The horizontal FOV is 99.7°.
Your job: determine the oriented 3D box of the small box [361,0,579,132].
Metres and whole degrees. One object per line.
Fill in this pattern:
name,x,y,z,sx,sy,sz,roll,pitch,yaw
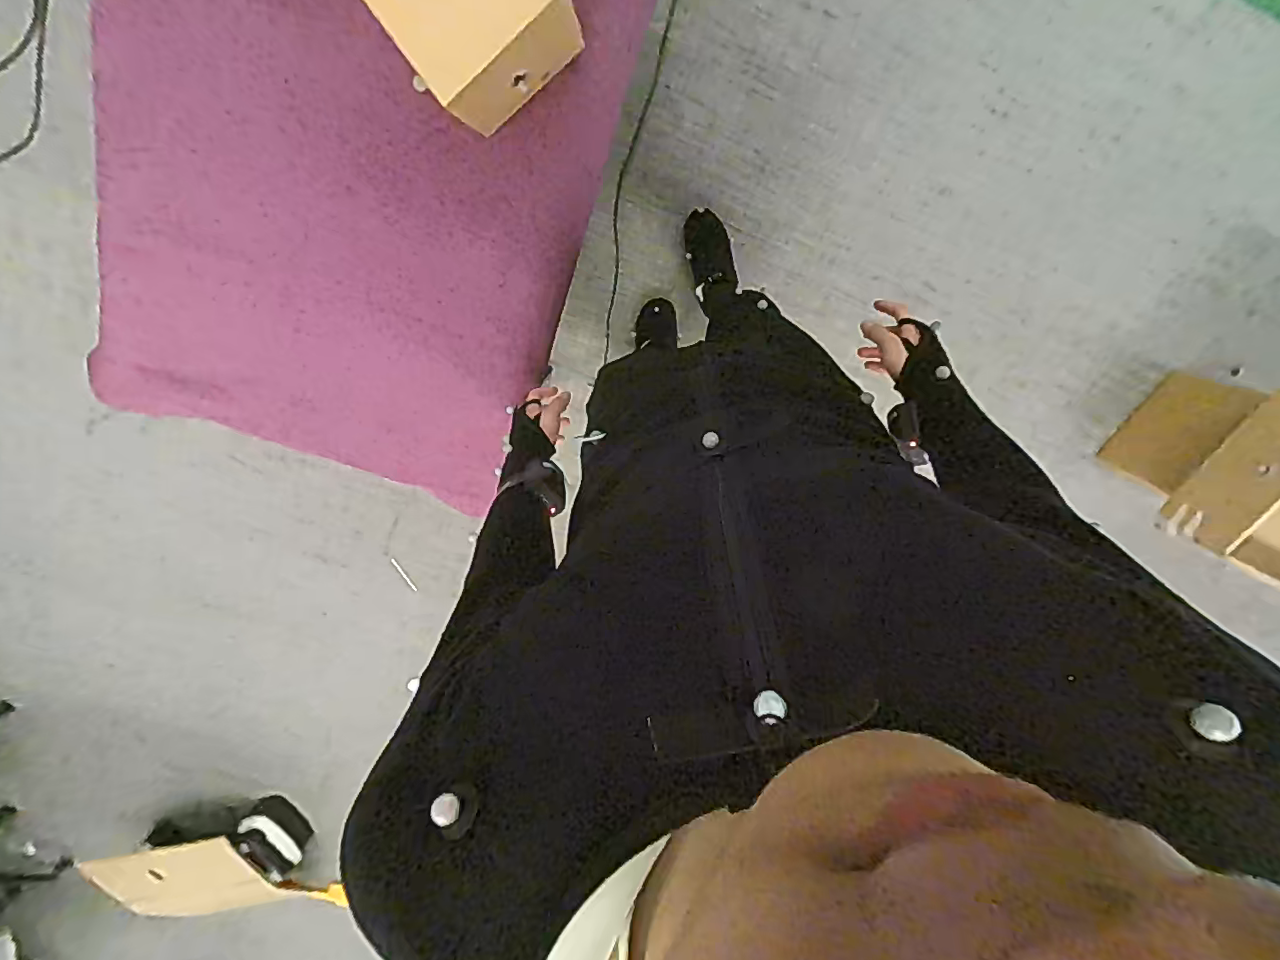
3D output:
small box,-0.182,-0.511,0.582,0.168,0.176,0.179,-34,109,13
